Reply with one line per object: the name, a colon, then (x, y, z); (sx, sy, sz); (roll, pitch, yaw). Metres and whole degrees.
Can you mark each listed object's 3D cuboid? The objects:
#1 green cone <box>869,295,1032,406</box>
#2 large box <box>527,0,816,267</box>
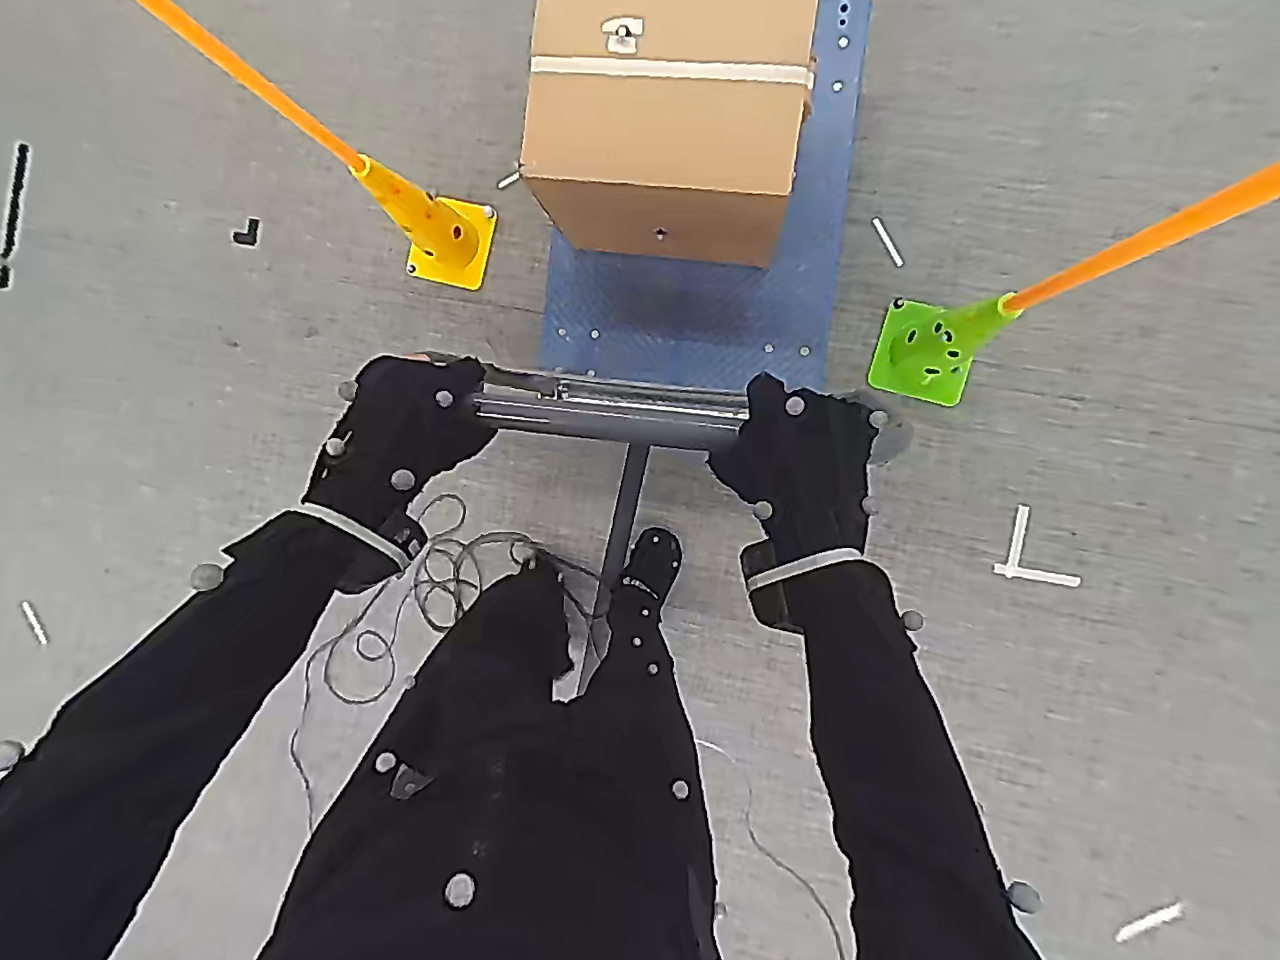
green cone: (0.604, -0.272, 1.015); (0.202, 0.368, 0.200); (16, 94, 6)
large box: (0.062, -0.582, 0.937); (0.408, 0.320, 0.320); (9, 94, 8)
